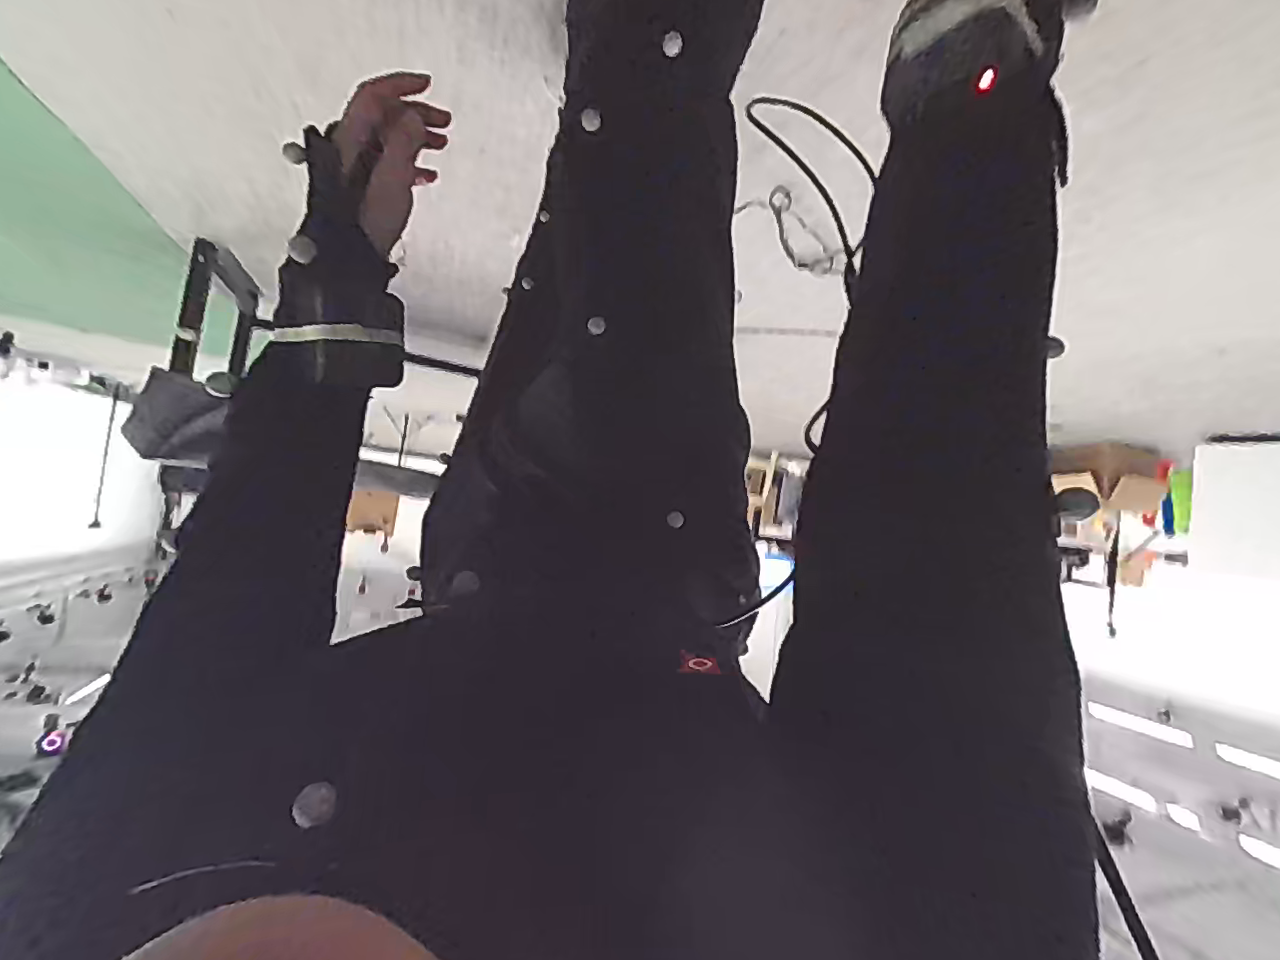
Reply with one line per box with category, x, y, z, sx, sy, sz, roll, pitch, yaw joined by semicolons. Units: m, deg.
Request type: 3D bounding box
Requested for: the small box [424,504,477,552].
small box;-0.762;0.189;2.176;0.168;0.176;0.179;12;175;-26
